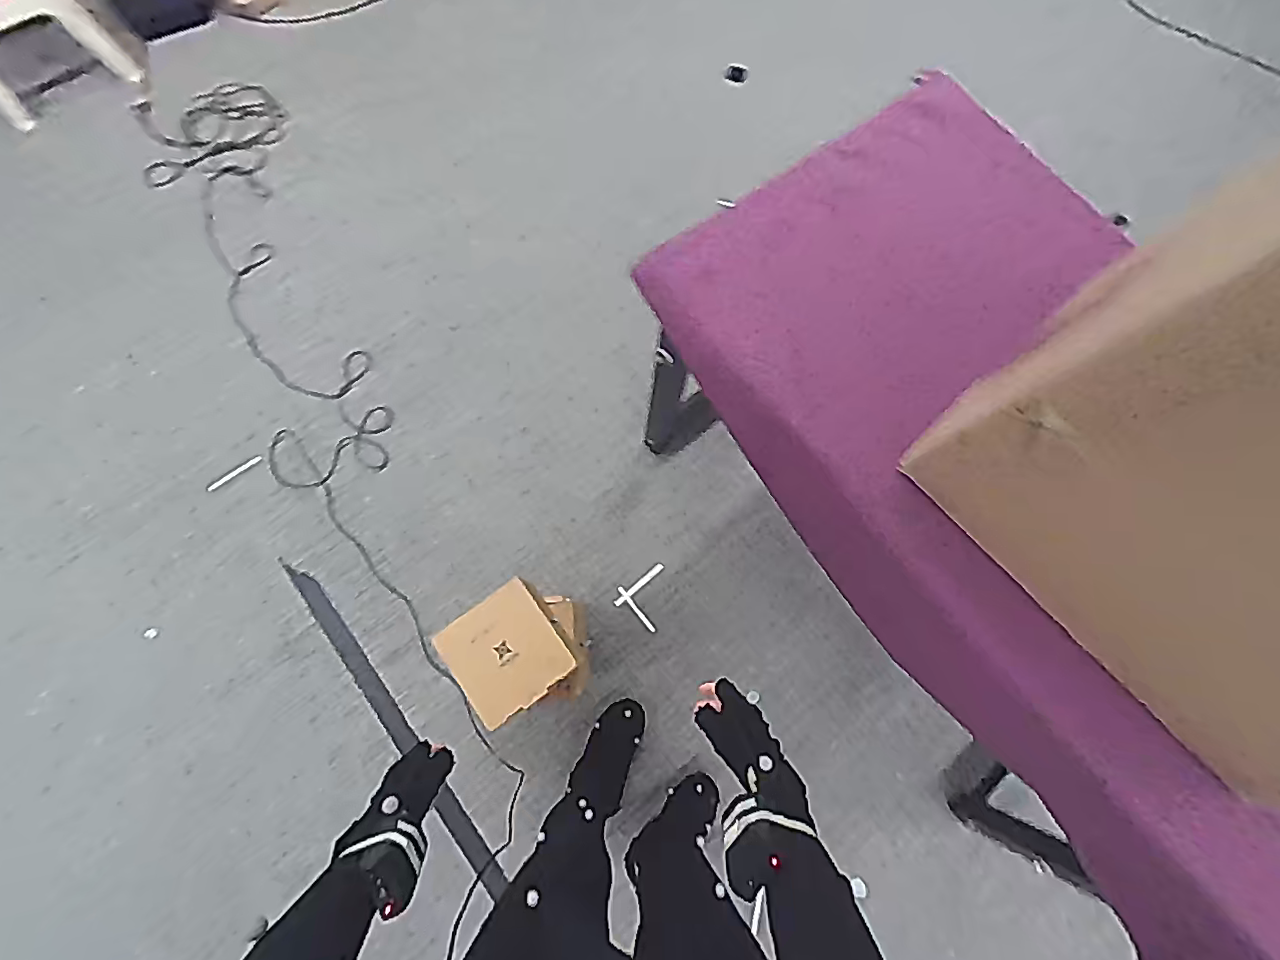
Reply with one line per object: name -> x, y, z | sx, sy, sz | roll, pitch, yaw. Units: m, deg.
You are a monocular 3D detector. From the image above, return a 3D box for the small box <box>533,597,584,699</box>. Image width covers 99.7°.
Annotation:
small box -> -0.202, 0.334, 1.074 | 0.168, 0.176, 0.179 | -6, 75, -4

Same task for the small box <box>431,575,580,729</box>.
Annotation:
small box -> -0.216, 0.283, 0.918 | 0.168, 0.176, 0.179 | -36, 79, -12

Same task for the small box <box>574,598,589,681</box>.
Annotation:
small box -> -0.209, 0.372, 1.233 | 0.168, 0.176, 0.179 | -8, 76, -5
